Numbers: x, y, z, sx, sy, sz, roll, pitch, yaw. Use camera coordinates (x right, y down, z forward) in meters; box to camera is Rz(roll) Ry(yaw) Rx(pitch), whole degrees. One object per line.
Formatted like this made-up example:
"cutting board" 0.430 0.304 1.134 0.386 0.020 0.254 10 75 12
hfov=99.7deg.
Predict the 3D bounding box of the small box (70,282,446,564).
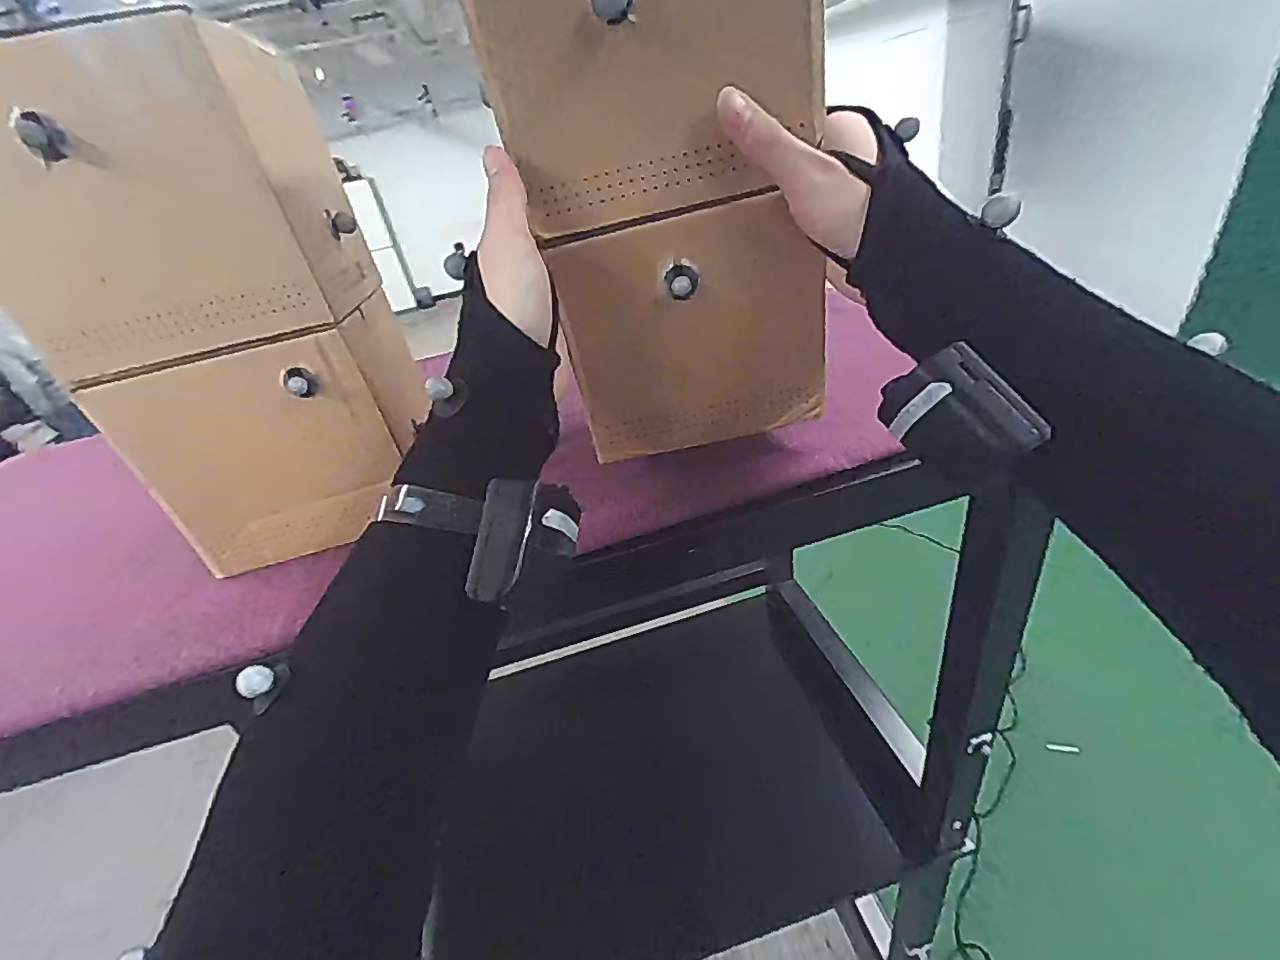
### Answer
"small box" -0.287 -0.053 0.462 0.179 0.176 0.168 -16 32 -6

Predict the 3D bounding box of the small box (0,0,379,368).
"small box" -0.317 -0.191 0.377 0.179 0.176 0.168 -15 32 -5

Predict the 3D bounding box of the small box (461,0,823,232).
"small box" -0.001 -0.267 0.324 0.179 0.176 0.168 -12 37 5
